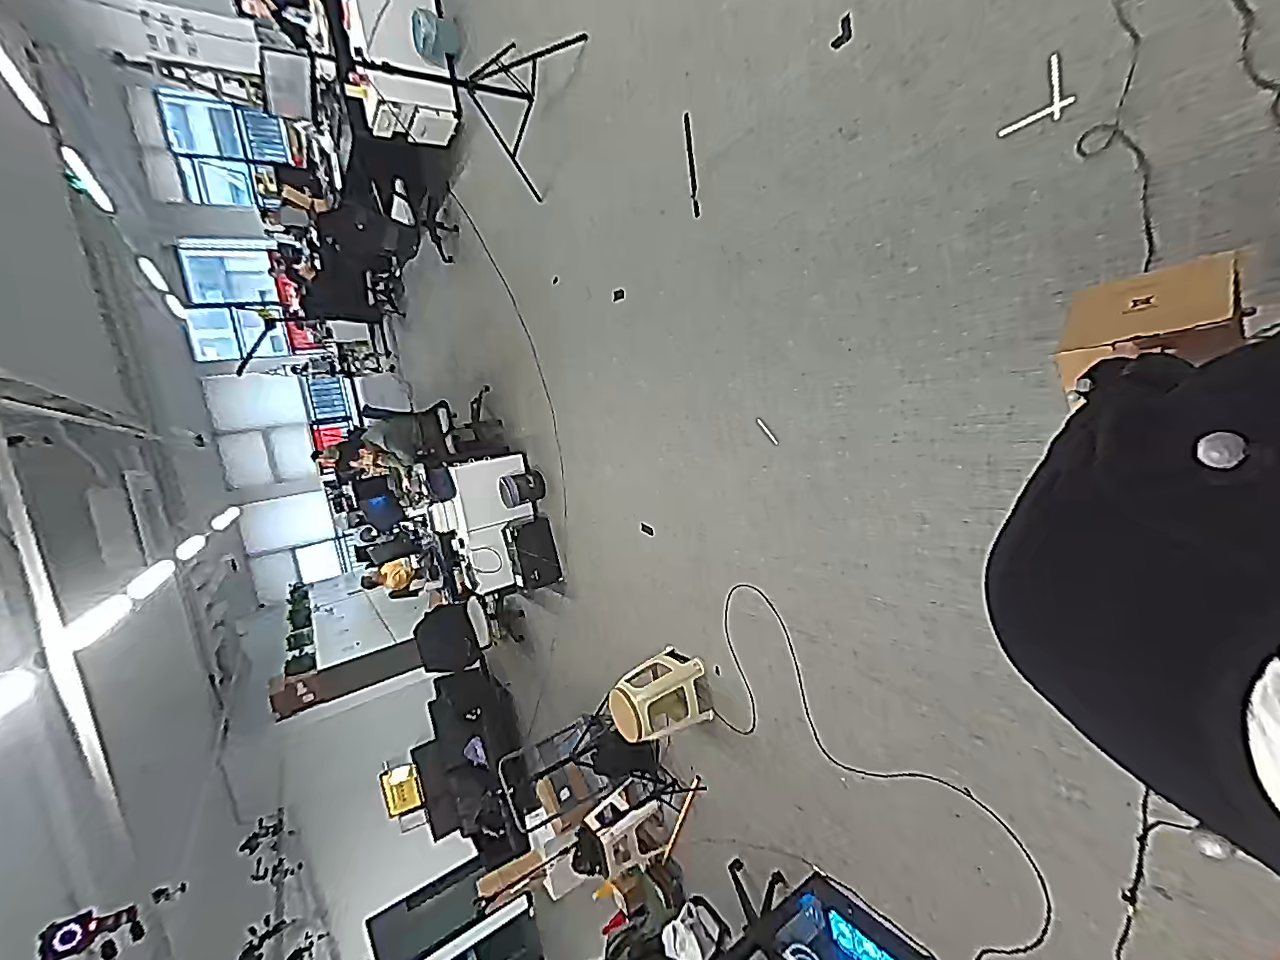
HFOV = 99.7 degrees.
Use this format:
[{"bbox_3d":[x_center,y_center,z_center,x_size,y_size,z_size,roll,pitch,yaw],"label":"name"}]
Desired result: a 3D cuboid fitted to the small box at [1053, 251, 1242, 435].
[{"bbox_3d":[0.704,-0.174,0.748,0.168,0.179,0.176,-3,129,50],"label":"small box"}]
